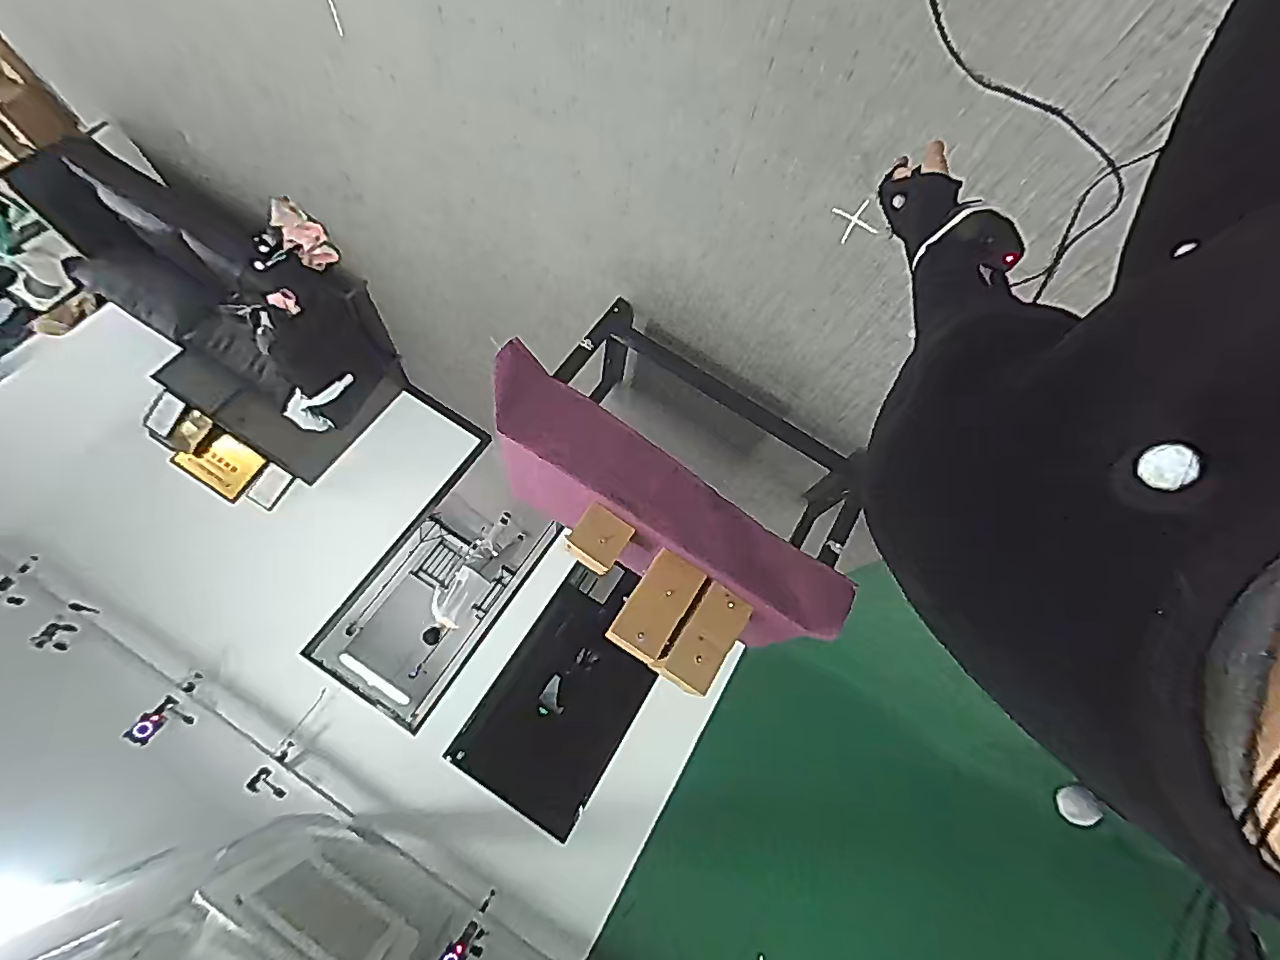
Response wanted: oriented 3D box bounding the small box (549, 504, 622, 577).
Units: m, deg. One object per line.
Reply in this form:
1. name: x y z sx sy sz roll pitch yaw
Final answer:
1. small box: -0.187 0.207 1.850 0.179 0.176 0.168 36 157 -3
